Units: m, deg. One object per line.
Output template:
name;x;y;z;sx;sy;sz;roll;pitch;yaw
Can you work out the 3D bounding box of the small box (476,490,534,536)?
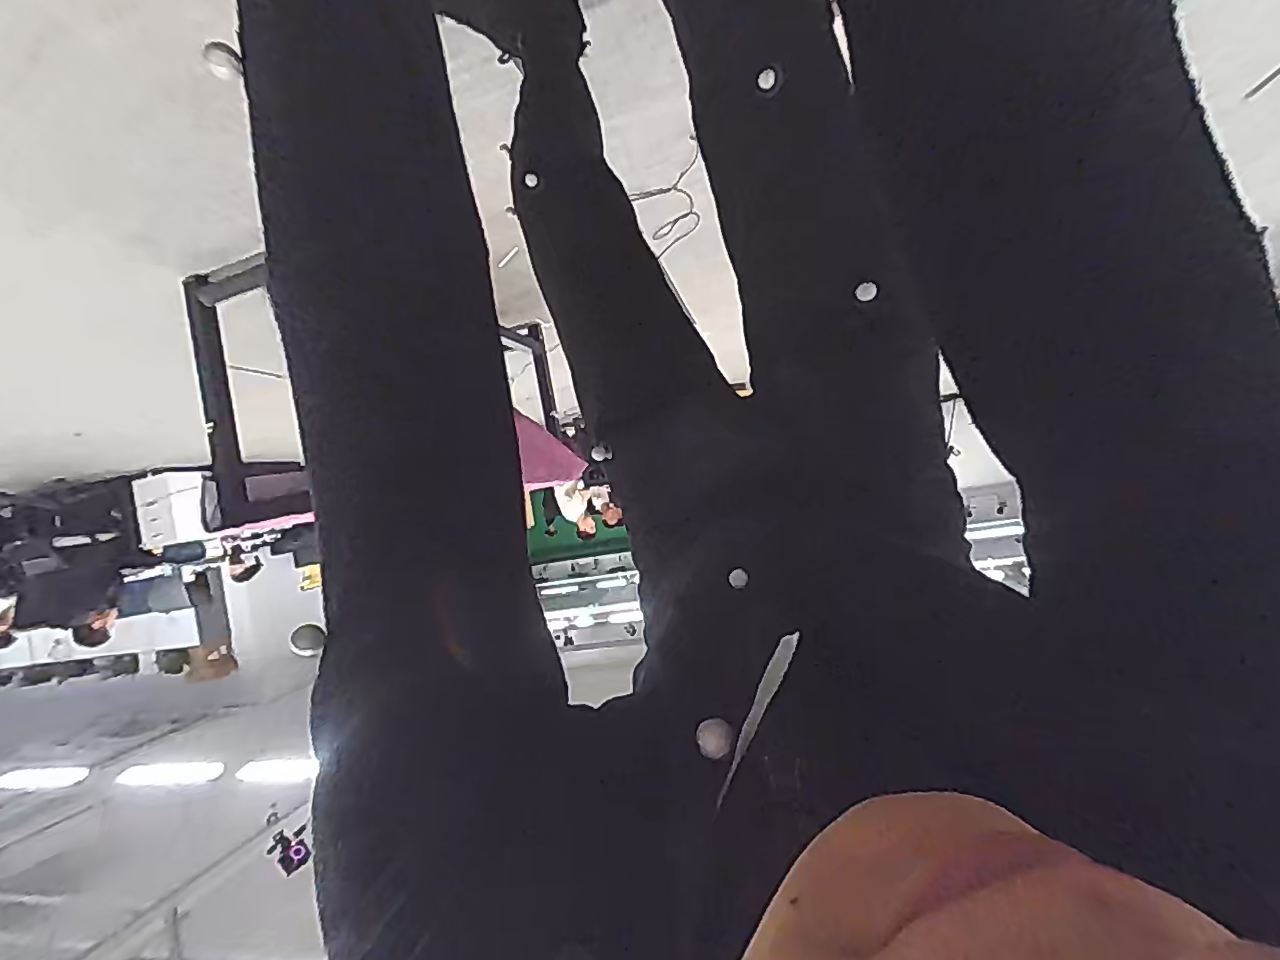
small box;-0.575;0.135;2.287;0.179;0.176;0.168;-11;179;23
